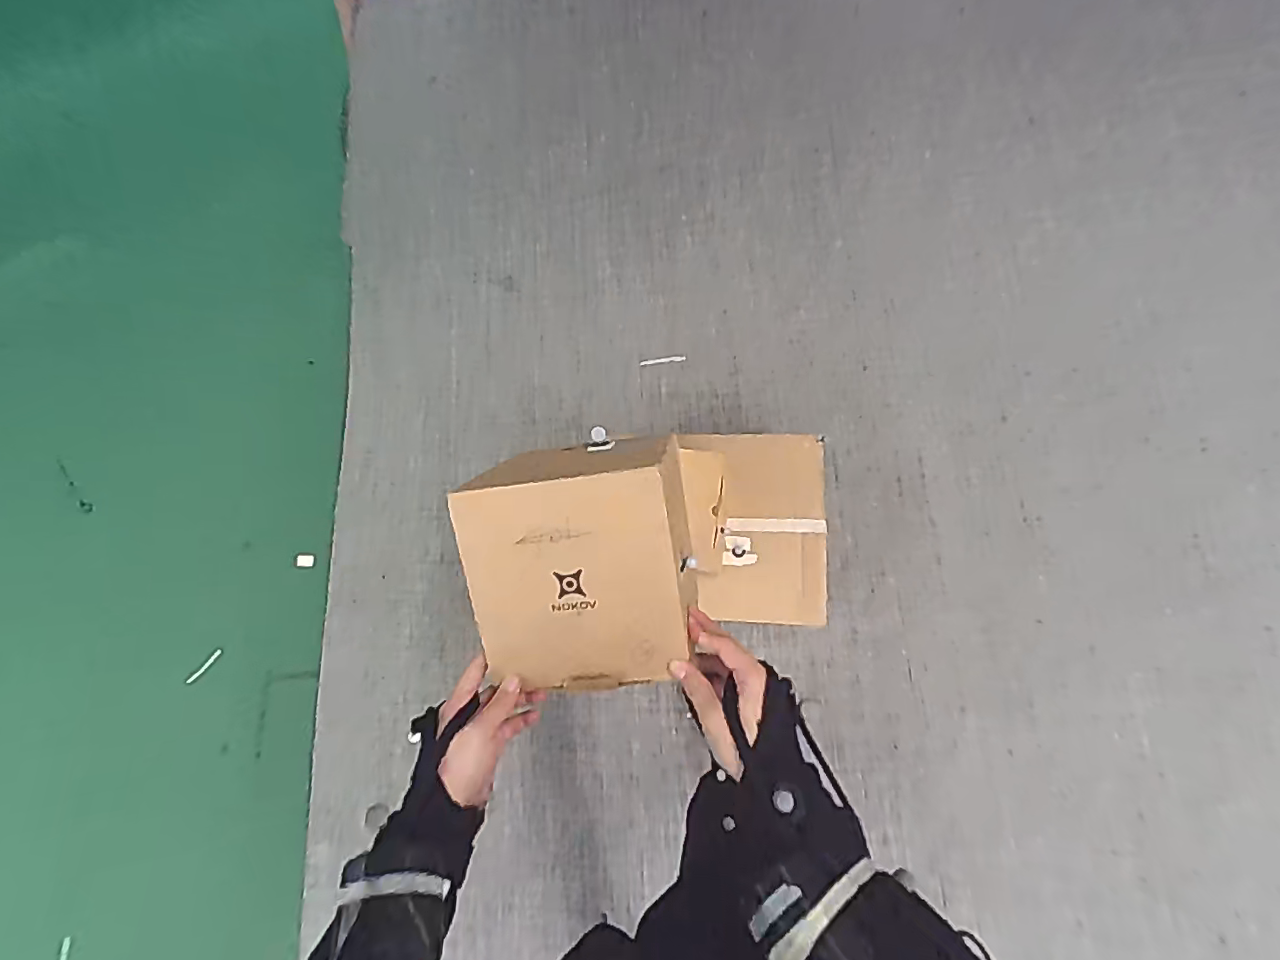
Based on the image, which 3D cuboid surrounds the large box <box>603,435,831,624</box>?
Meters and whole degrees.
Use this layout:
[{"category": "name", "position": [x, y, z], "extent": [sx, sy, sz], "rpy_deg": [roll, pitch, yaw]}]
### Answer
[{"category": "large box", "position": [0.131, 0.106, 1.047], "extent": [0.408, 0.320, 0.320], "rpy_deg": [0, 79, 10]}]

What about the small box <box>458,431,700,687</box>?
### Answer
[{"category": "small box", "position": [-0.037, 0.062, 0.497], "extent": [0.168, 0.176, 0.179], "rpy_deg": [-8, 102, 9]}]

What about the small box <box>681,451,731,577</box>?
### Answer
[{"category": "small box", "position": [0.041, 0.054, 0.823], "extent": [0.179, 0.176, 0.168], "rpy_deg": [6, 79, 12]}]
